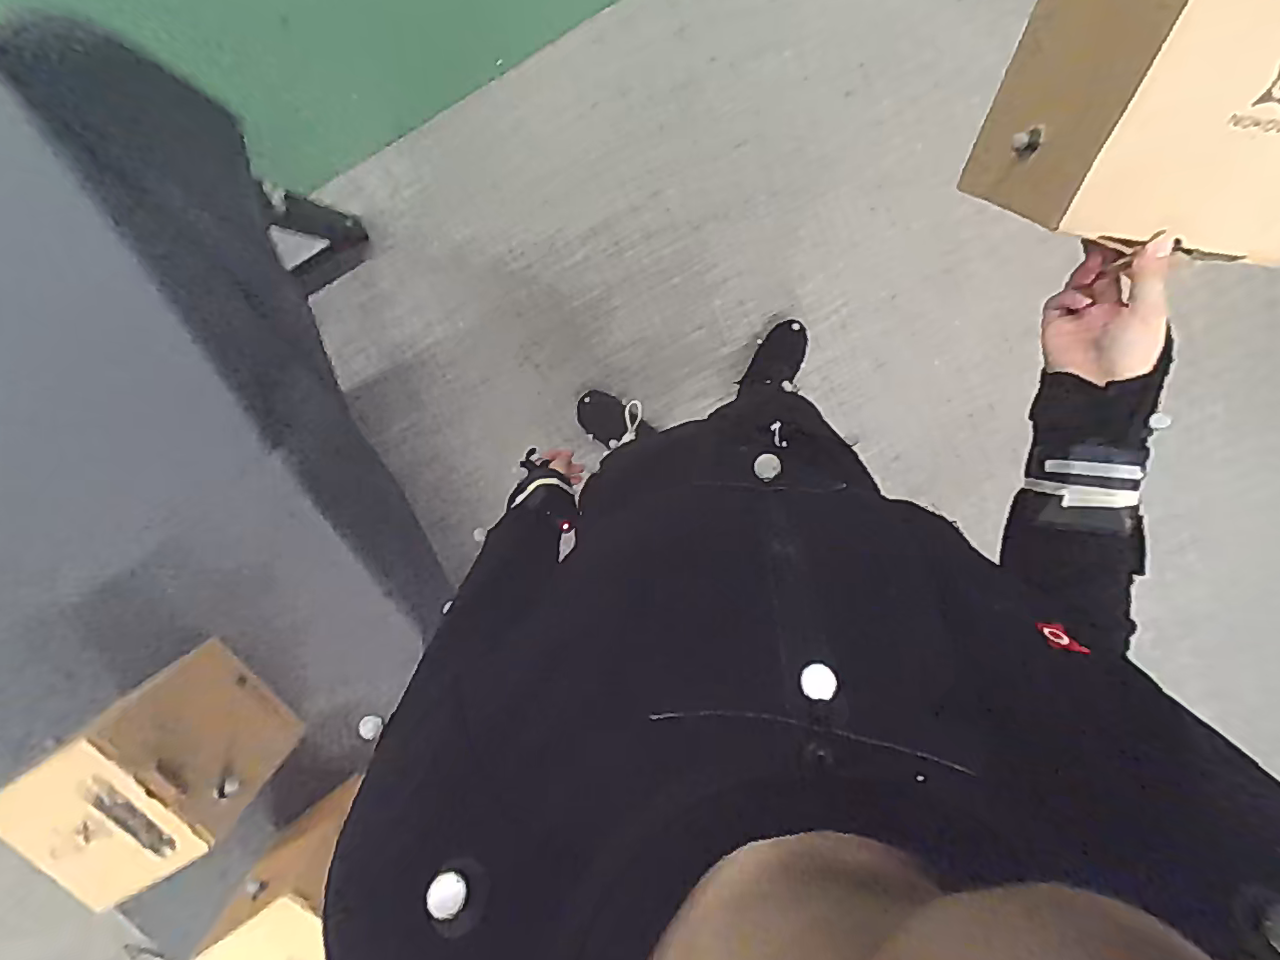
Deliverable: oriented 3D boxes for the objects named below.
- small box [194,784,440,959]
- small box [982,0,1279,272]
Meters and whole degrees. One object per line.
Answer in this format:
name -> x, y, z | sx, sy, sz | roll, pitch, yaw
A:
small box -> -0.384, 0.530, 0.671 | 0.179, 0.176, 0.168 | -39, 102, 9
small box -> 0.380, -0.269, 0.377 | 0.168, 0.176, 0.179 | 8, 127, -2
